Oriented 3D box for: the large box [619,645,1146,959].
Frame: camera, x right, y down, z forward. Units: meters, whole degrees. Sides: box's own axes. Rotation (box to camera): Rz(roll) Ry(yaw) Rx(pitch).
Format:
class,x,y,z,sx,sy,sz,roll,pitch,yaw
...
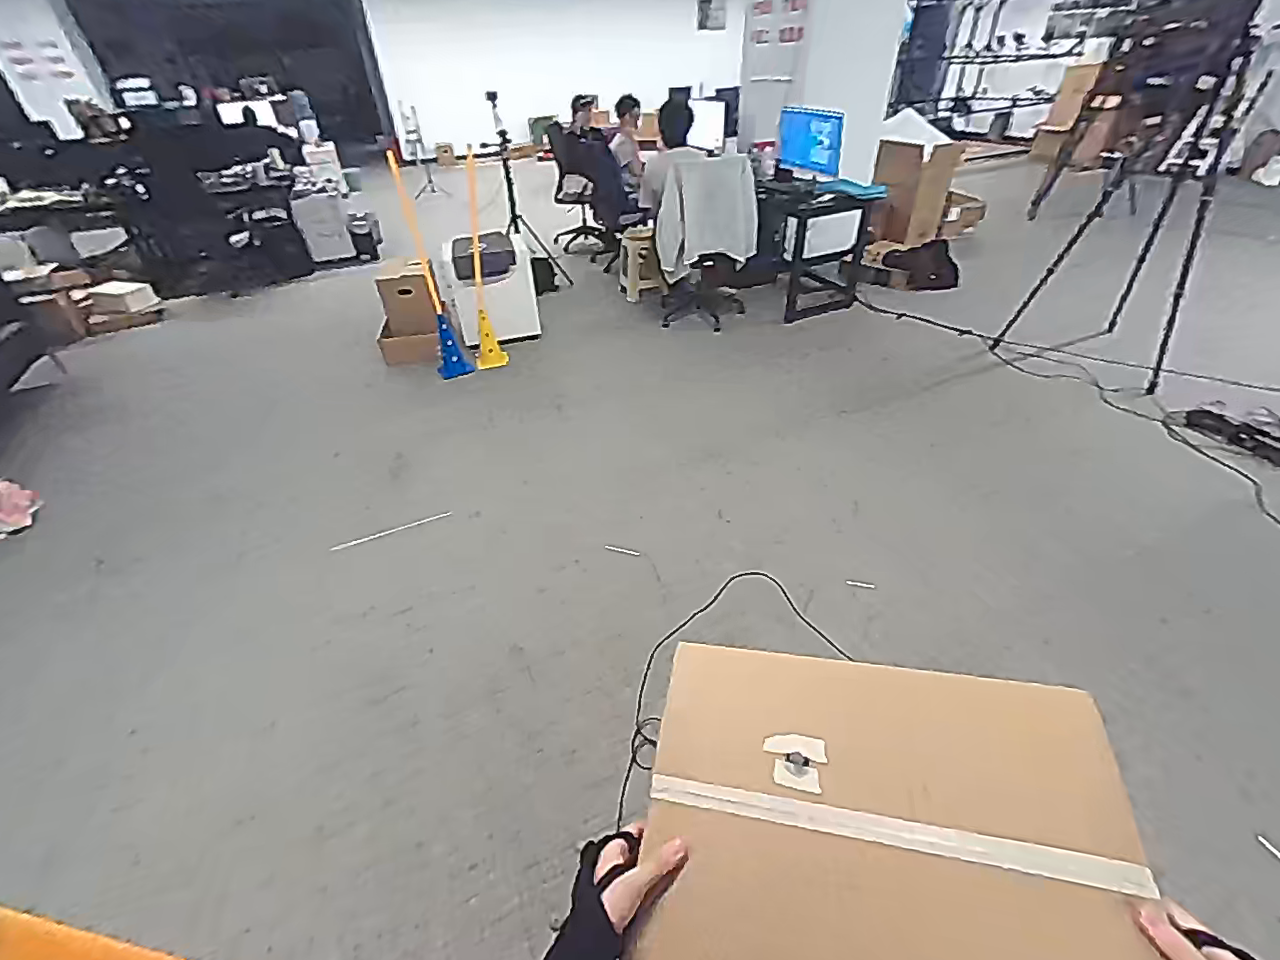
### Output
class,x,y,z,sx,sy,sz,roll,pitch,yaw
large box,0.230,0.410,0.600,0.408,0.320,0.320,1,48,17
